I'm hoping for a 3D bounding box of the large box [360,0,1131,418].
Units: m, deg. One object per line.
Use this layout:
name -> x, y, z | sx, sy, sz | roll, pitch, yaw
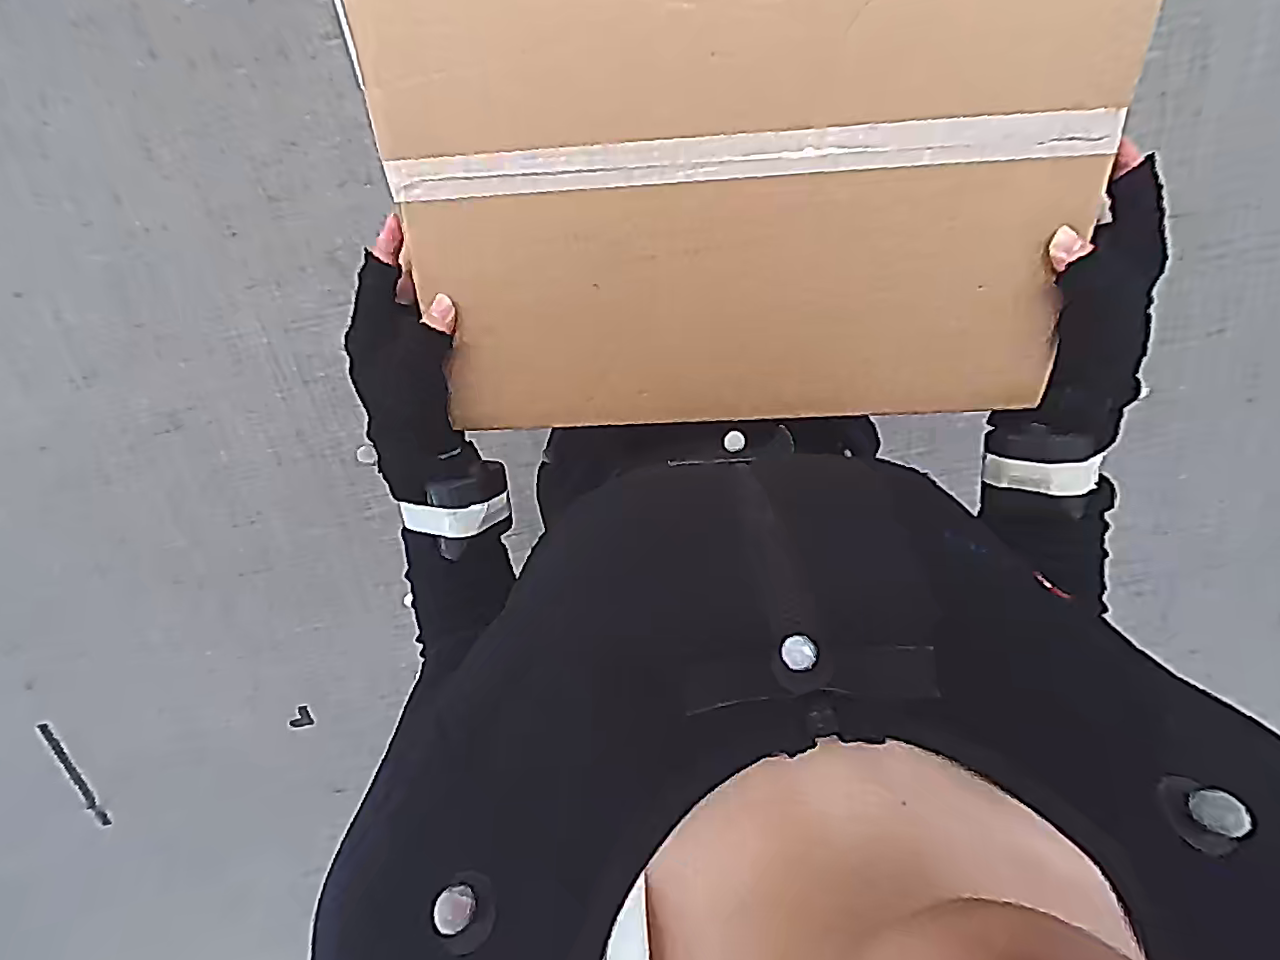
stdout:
large box -> 0.057, -0.258, 0.445 | 0.408, 0.320, 0.320 | -2, 118, 3
